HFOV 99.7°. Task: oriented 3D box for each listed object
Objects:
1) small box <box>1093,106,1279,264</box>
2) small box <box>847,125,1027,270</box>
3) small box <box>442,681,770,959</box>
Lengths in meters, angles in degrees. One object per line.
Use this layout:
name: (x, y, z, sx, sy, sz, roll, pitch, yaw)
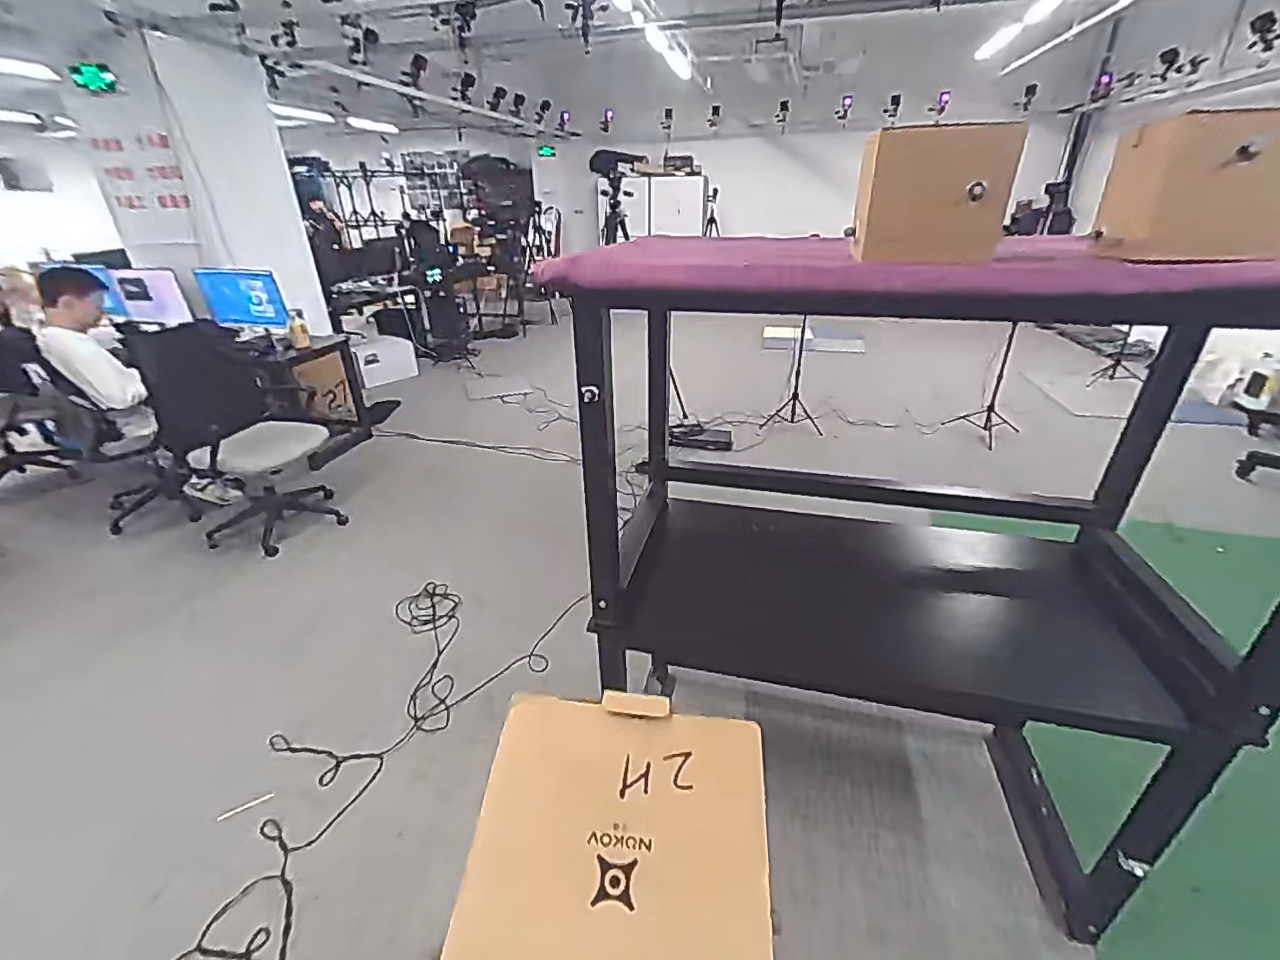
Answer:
small box: (0.755, -0.384, 0.726, 0.179, 0.176, 0.168, 6, 26, 14)
small box: (0.412, -0.405, 0.785, 0.179, 0.176, 0.168, 4, 28, 12)
small box: (-0.015, 0.261, 0.358, 0.168, 0.176, 0.179, 7, 45, 1)
